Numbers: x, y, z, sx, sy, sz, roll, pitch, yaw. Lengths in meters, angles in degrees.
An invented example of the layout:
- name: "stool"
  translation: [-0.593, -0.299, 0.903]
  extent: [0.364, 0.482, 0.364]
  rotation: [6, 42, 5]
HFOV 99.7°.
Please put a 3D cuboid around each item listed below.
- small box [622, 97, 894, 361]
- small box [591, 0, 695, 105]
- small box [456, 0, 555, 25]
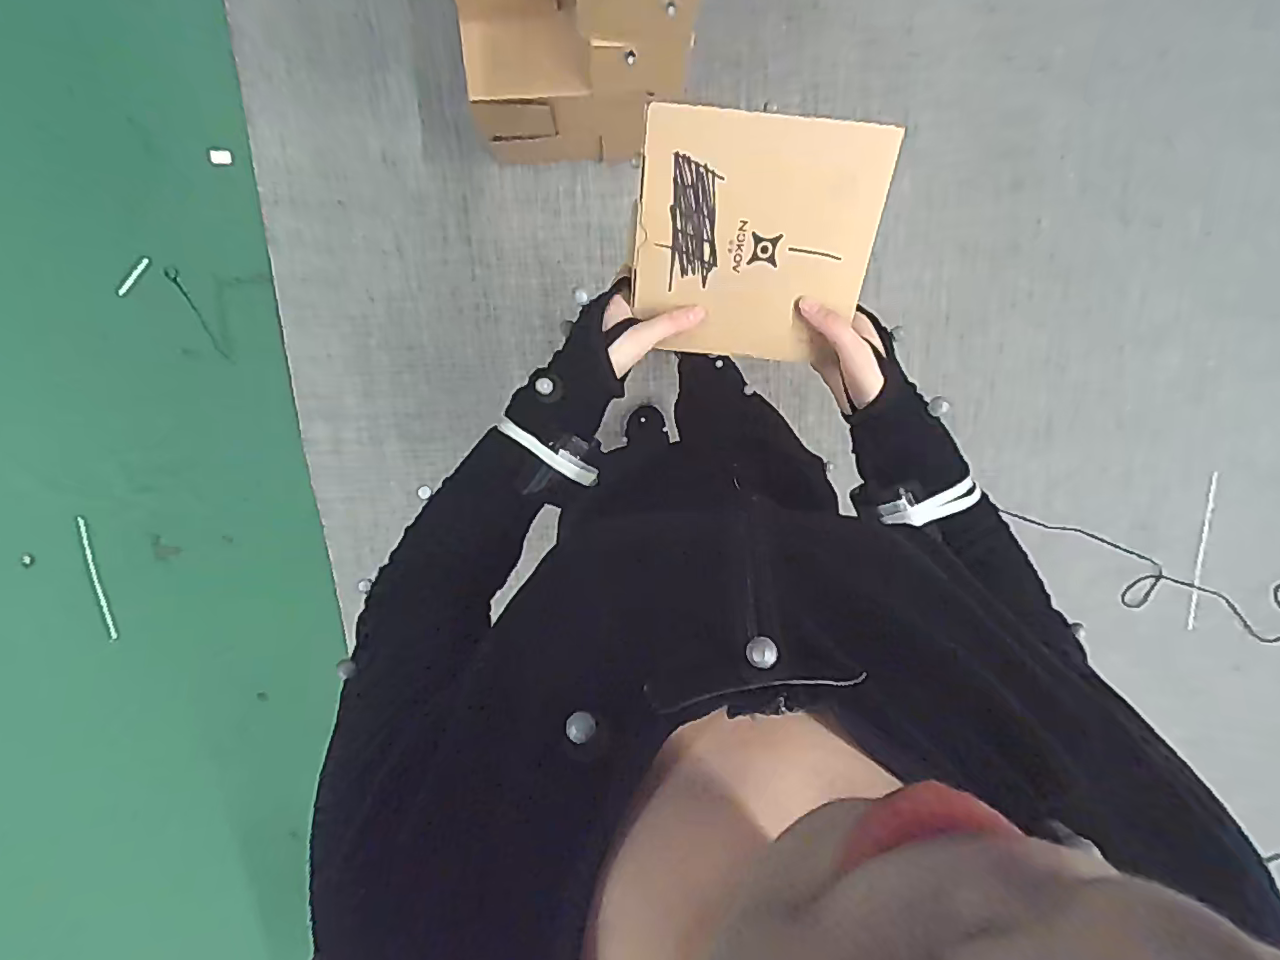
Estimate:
- name: "small box"
  translation: [0.081, -0.214, 0.471]
  extent: [0.179, 0.176, 0.168]
  rotation: [5, 119, -2]
- name: "small box"
  translation: [0.002, -0.777, 0.923]
  extent: [0.168, 0.176, 0.179]
  rotation: [0, 100, -2]
- name: "small box"
  translation: [-0.238, -0.905, 0.897]
  extent: [0.179, 0.176, 0.168]
  rotation: [-5, 99, 1]
